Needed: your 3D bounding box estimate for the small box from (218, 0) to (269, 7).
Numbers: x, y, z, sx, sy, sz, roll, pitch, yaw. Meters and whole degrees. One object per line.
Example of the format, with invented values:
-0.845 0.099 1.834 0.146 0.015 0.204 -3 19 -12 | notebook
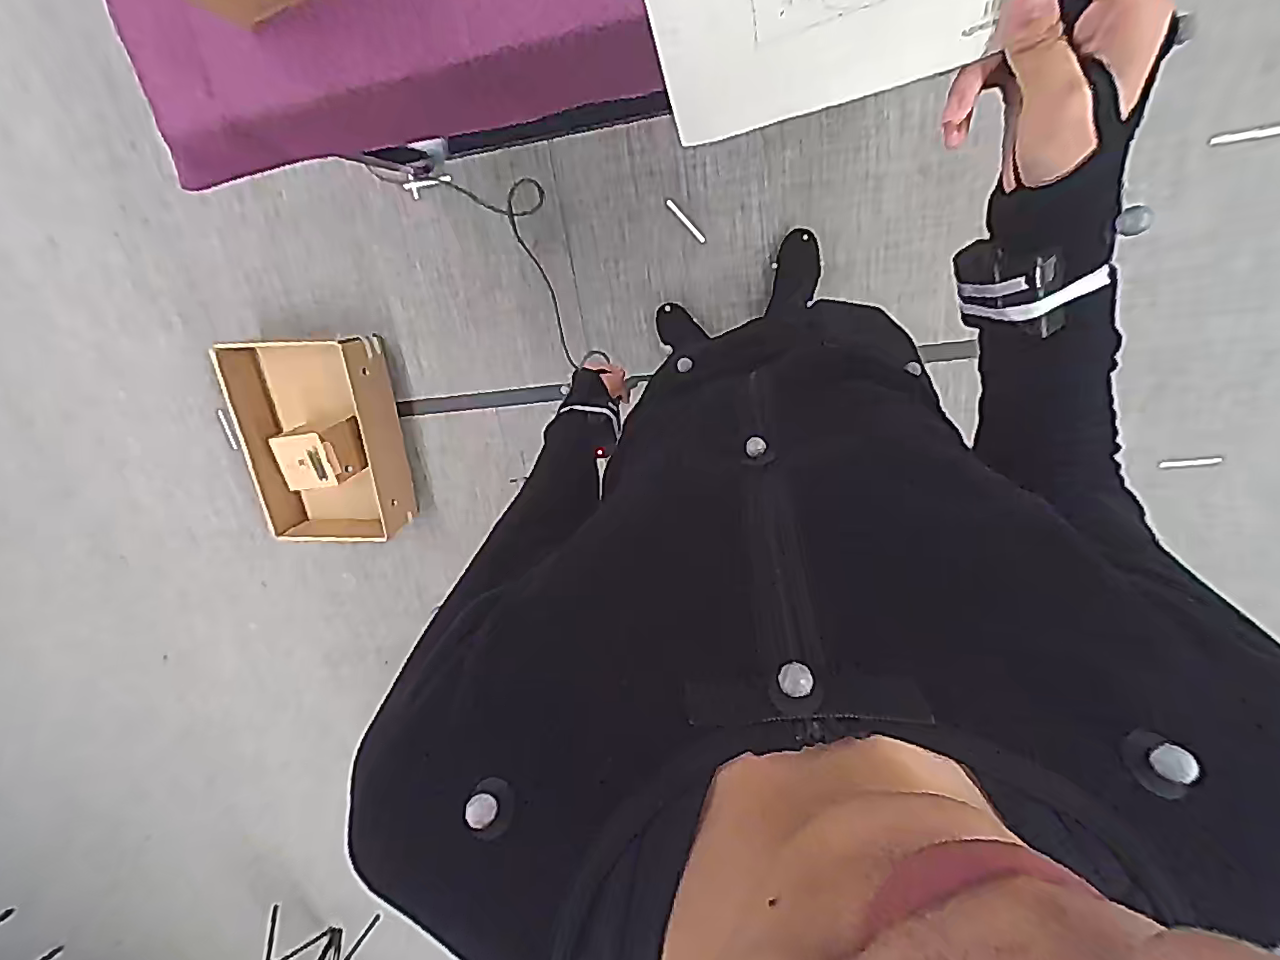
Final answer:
-0.480 -0.672 0.597 0.168 0.176 0.179 -13 110 11 | small box
